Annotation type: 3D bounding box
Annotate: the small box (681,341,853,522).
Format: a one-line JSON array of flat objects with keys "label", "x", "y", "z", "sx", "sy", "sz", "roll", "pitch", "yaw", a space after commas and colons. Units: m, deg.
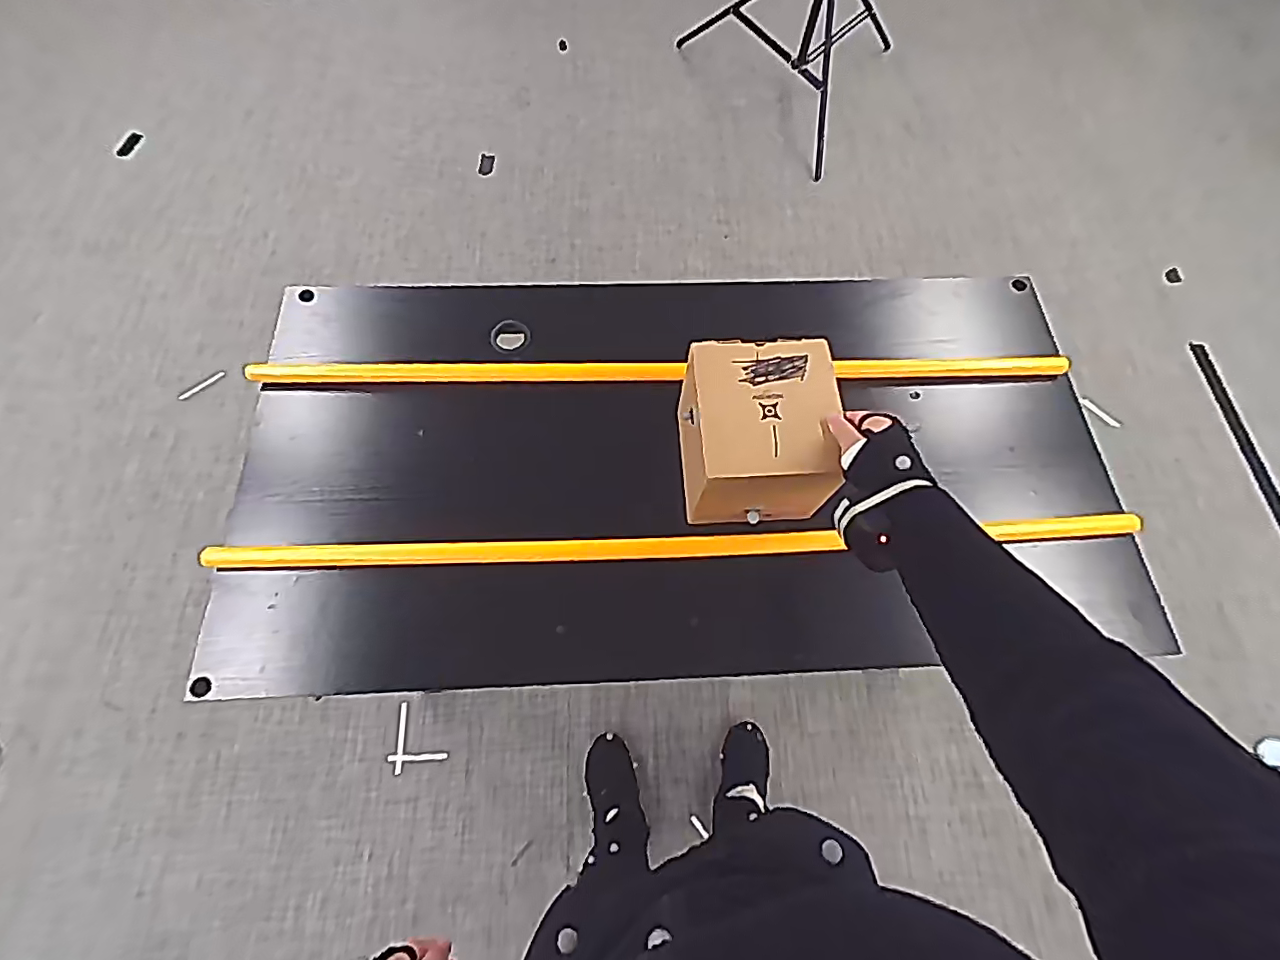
[{"label": "small box", "x": 0.145, "y": -0.056, "z": 0.689, "sx": 0.168, "sy": 0.176, "sz": 0.179, "roll": -2, "pitch": 69, "yaw": -2}]
